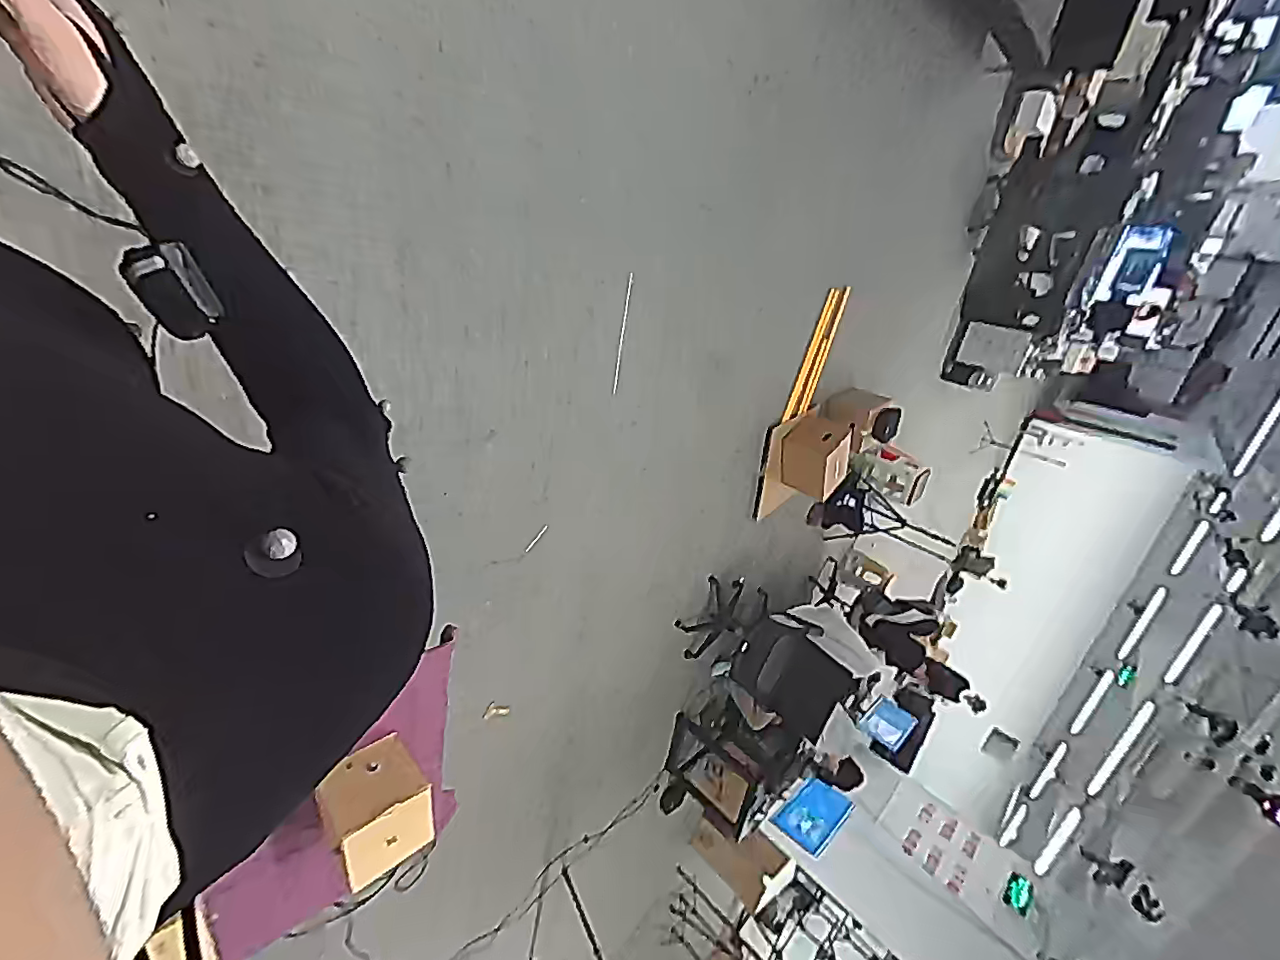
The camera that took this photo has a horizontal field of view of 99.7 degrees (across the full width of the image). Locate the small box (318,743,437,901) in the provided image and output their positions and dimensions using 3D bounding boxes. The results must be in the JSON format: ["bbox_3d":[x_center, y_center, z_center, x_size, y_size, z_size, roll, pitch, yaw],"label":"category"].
[{"bbox_3d":[-0.532,0.683,1.100,0.168,0.176,0.179,-18,124,-41],"label":"small box"}]

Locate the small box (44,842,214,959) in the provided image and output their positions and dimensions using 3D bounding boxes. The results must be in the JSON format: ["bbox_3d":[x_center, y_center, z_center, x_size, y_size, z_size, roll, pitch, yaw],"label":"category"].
[{"bbox_3d":[-0.781,0.719,0.836,0.168,0.176,0.179,-15,122,-44],"label":"small box"}]
